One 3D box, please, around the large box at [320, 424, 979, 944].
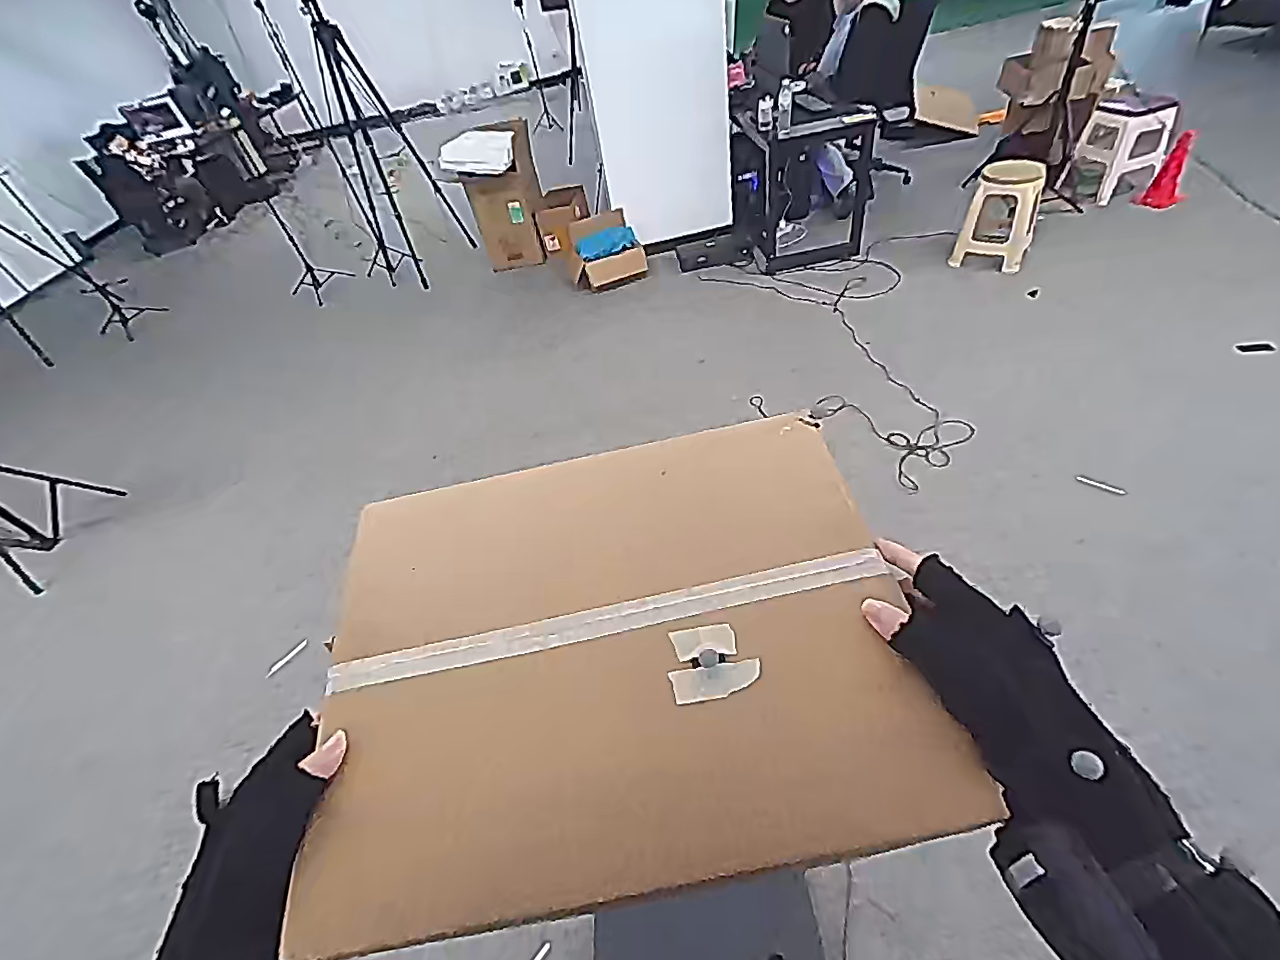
[{"bbox_3d":[0.000,0.197,0.520,0.408,0.320,0.320,-12,53,1],"label":"large box"}]
